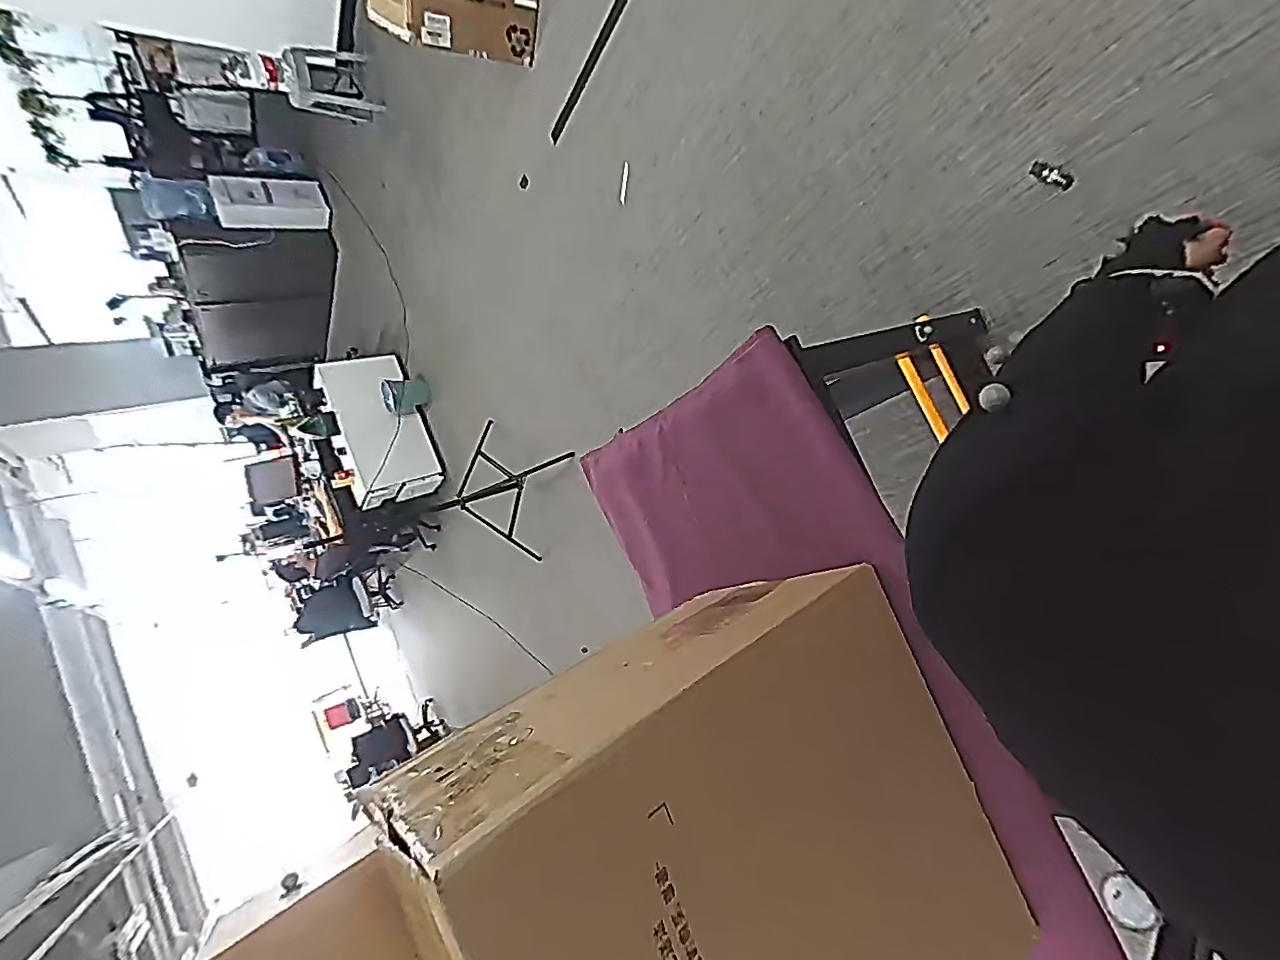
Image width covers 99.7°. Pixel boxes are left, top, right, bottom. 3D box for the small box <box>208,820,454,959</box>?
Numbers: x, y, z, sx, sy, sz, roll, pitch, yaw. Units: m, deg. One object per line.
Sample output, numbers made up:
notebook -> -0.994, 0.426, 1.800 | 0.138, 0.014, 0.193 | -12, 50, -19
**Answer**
small box -> -0.313, 0.495, 0.565 | 0.168, 0.176, 0.179 | -37, 78, 52
